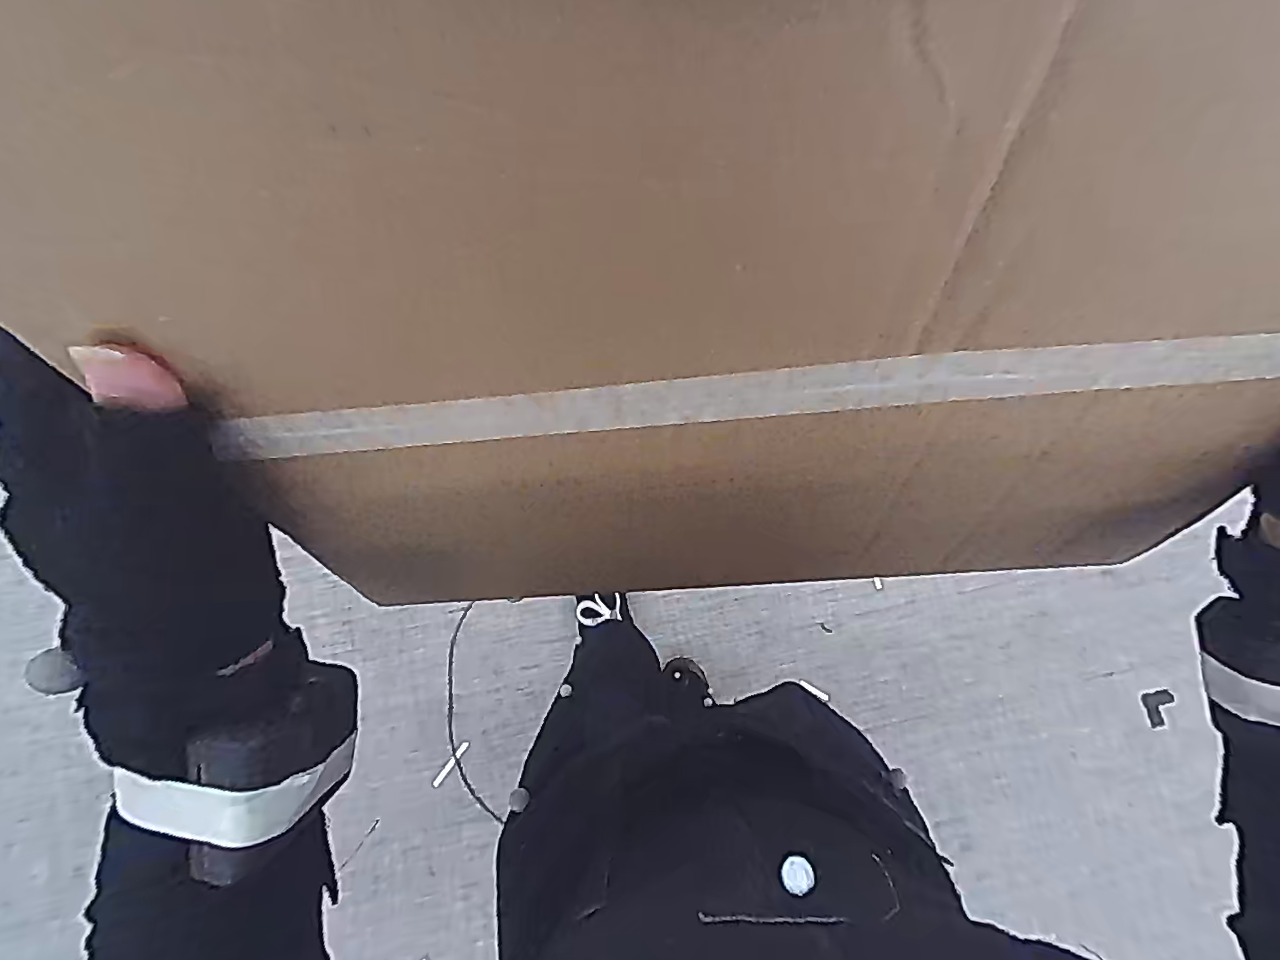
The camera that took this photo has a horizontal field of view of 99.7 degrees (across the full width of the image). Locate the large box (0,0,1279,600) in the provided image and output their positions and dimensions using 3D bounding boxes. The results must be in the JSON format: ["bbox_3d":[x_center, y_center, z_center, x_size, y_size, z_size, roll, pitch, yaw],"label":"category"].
[{"bbox_3d":[0.040,-0.154,0.266,0.408,0.320,0.320,-4,56,2],"label":"large box"}]
